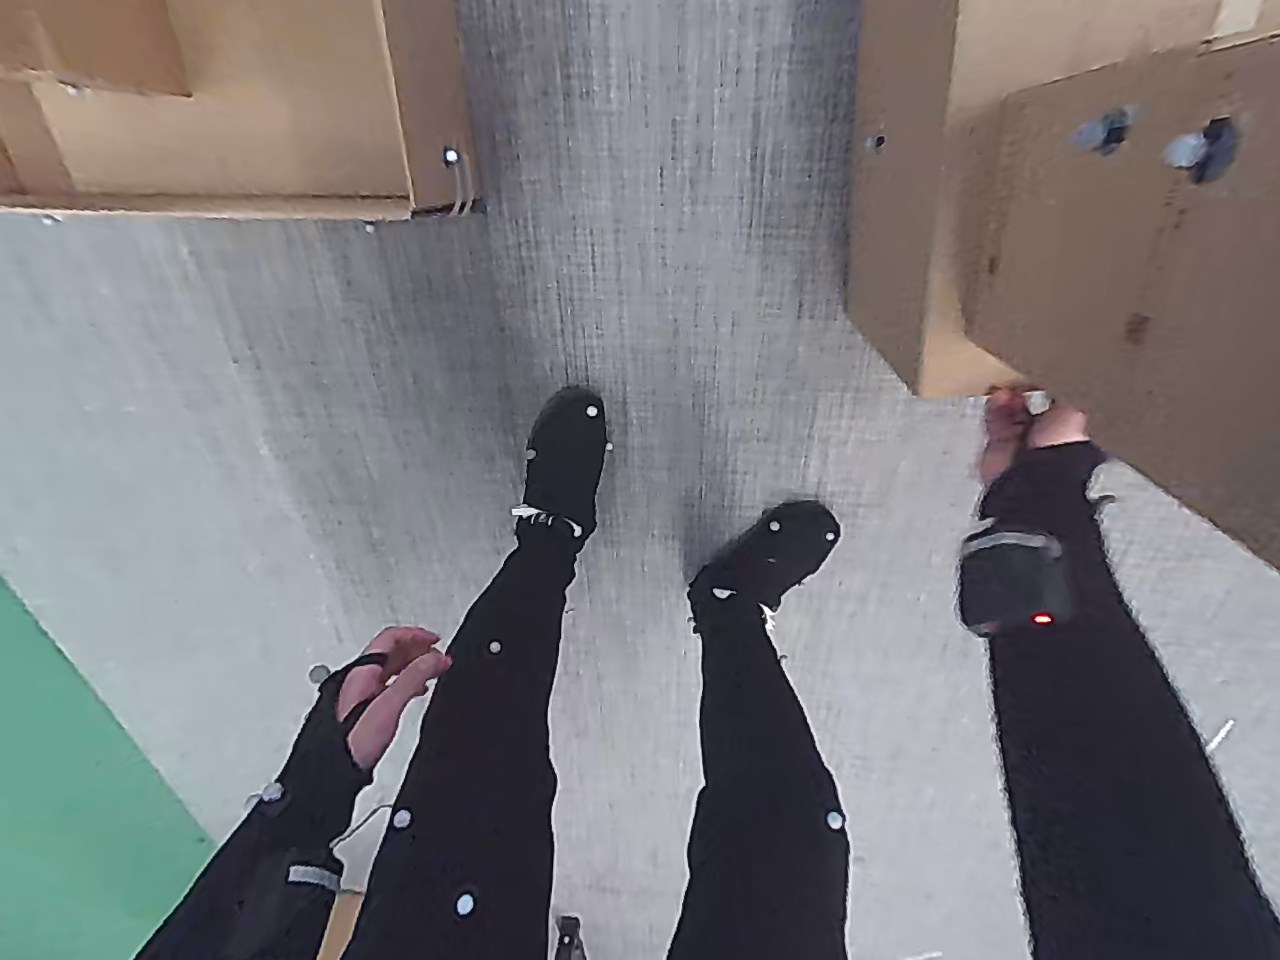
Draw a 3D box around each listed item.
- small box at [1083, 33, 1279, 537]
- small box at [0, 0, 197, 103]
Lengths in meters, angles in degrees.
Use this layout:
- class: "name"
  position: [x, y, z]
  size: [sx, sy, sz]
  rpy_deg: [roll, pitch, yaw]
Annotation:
- class: "small box"
  position: [0.298, -0.065, 0.172]
  size: [0.179, 0.176, 0.168]
  rpy_deg: [-2, 118, 9]
- class: "small box"
  position: [-0.611, -0.500, 0.545]
  size: [0.168, 0.176, 0.179]
  rpy_deg: [5, 121, 1]
